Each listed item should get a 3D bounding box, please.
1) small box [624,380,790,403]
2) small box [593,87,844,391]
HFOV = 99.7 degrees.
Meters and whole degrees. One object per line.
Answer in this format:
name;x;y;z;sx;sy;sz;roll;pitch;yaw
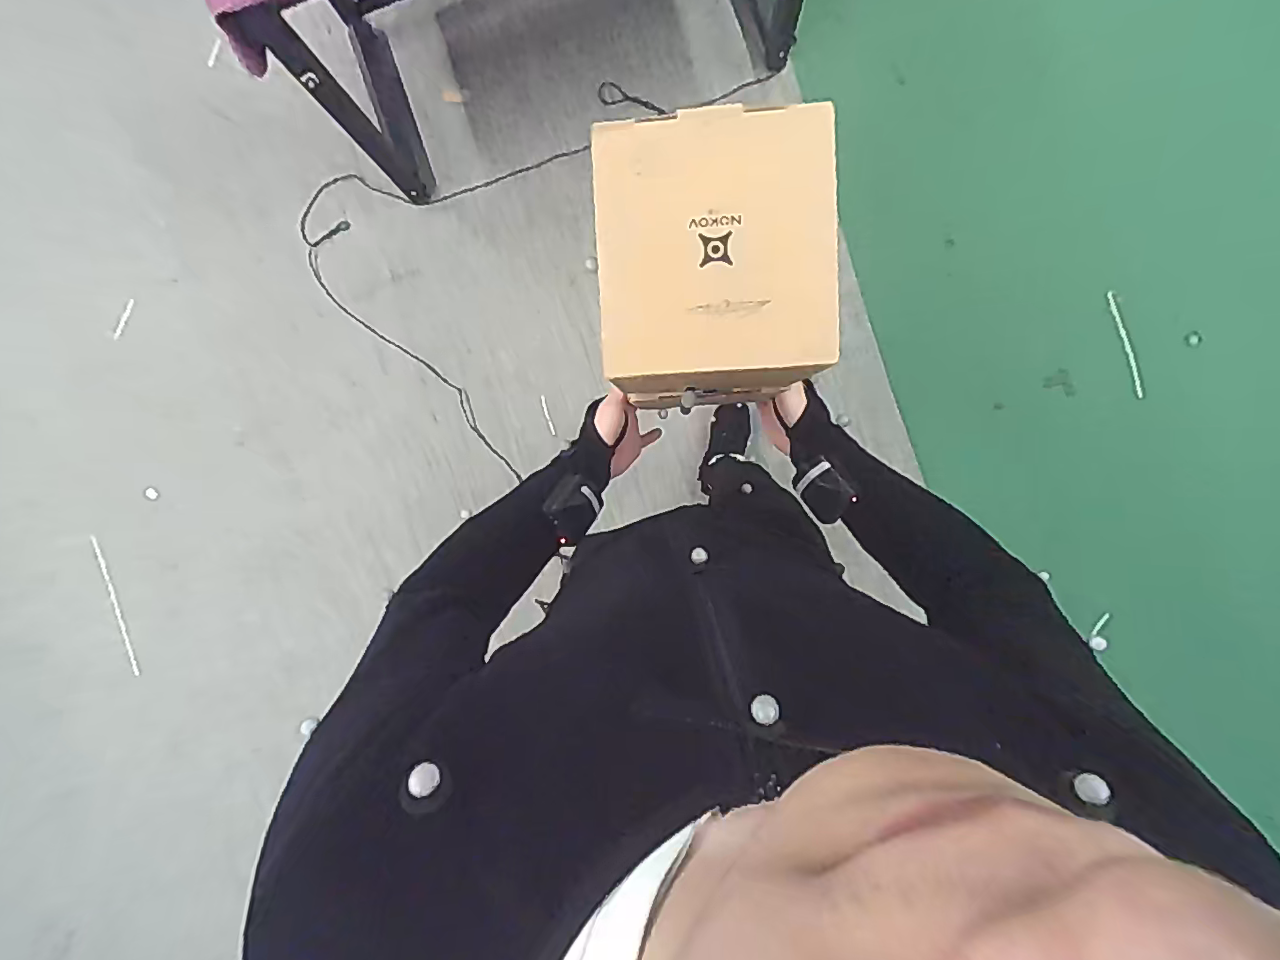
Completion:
small box;0.067;-0.179;0.599;0.168;0.176;0.179;-4;93;3
small box;0.055;-0.170;0.437;0.168;0.176;0.179;-2;95;4
